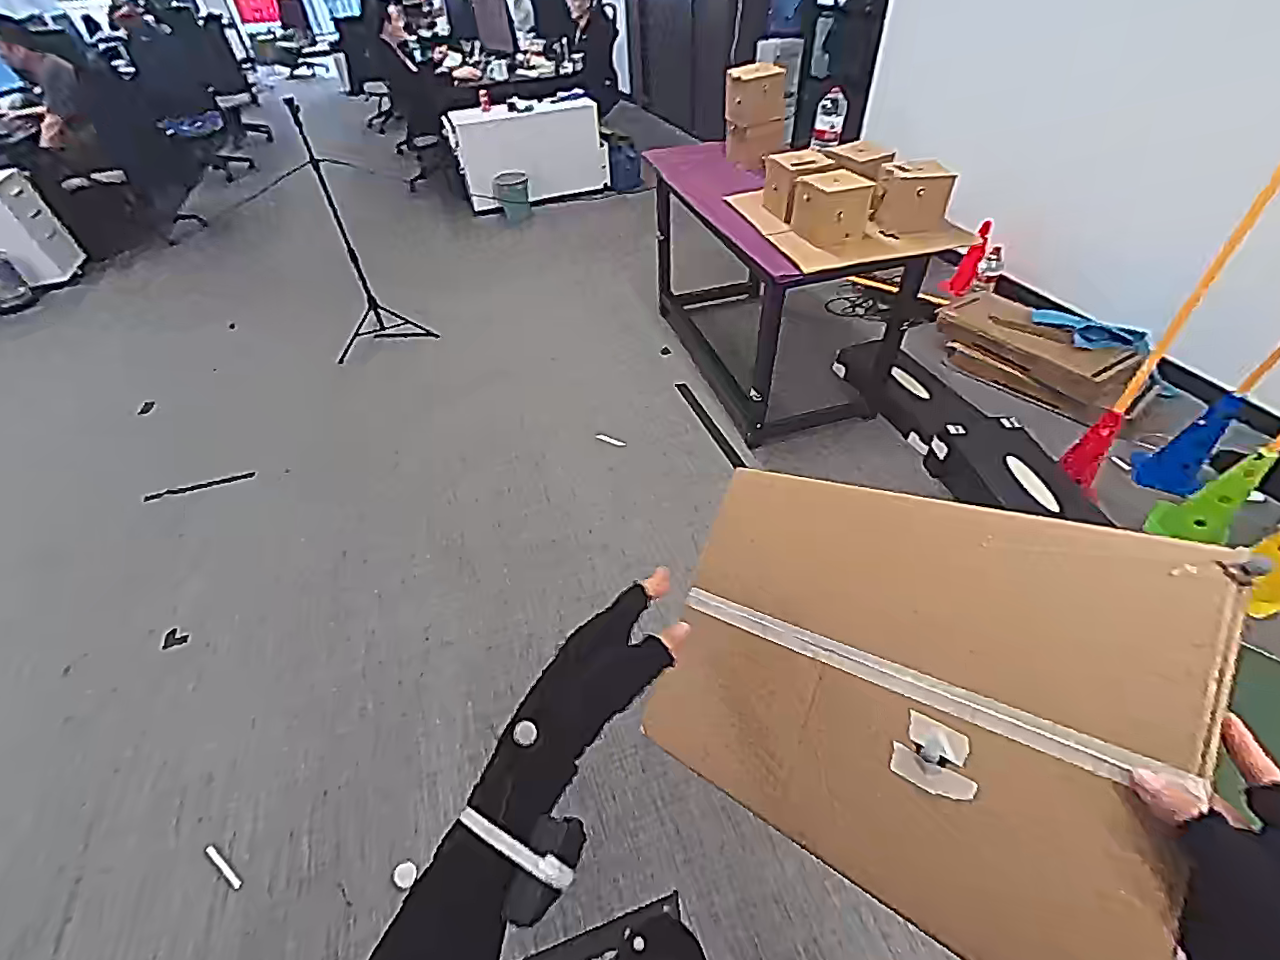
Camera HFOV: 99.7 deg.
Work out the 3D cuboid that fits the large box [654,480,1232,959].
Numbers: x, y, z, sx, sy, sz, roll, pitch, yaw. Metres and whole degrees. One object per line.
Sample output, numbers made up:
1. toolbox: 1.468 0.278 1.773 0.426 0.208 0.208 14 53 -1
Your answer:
1. large box: 0.296 0.219 0.577 0.408 0.320 0.320 12 77 45
